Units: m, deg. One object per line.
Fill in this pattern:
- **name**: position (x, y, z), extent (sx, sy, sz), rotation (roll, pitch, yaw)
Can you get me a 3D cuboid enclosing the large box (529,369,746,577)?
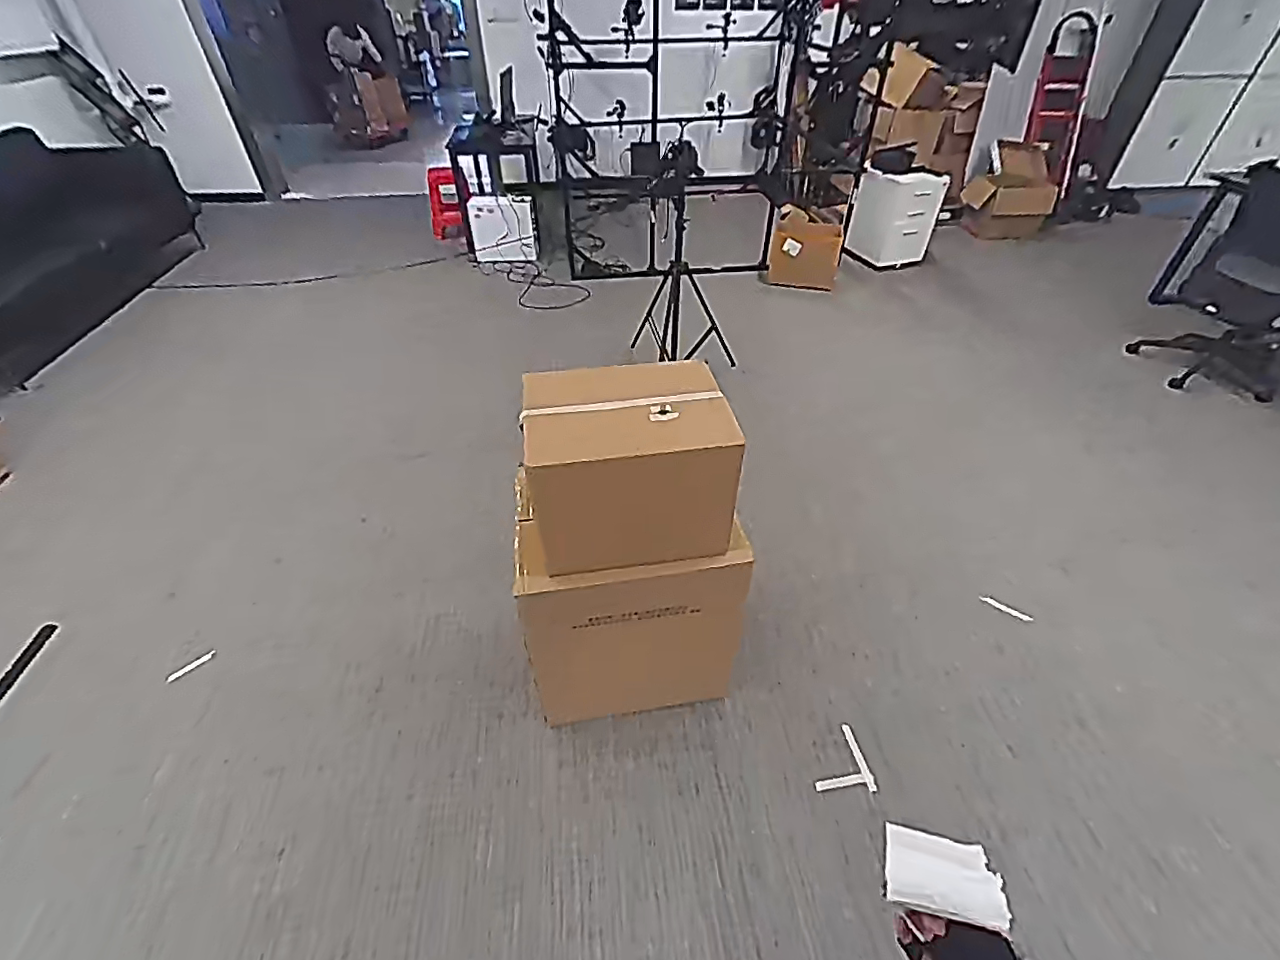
- **large box**: position (-0.022, -0.020, 1.192), extent (0.408, 0.320, 0.320), rotation (-6, 43, -8)
